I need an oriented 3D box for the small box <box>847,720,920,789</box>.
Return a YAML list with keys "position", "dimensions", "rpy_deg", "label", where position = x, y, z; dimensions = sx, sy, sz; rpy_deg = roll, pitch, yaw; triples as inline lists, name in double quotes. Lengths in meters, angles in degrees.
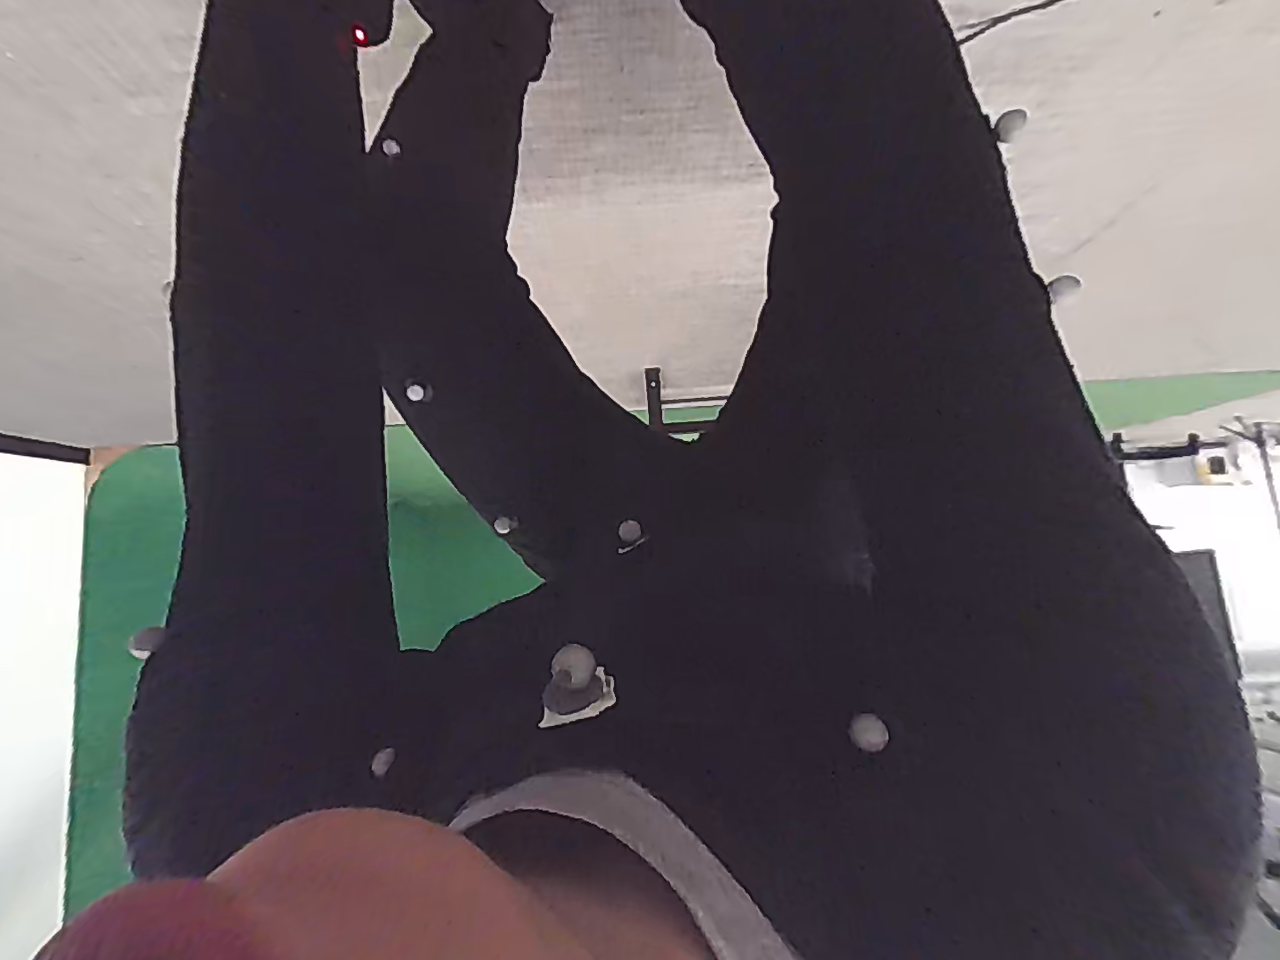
- position: [0.859, 0.968, 1.921]
  dimensions: [0.179, 0.176, 0.168]
  rpy_deg: [-6, 172, 2]
  label: "small box"
